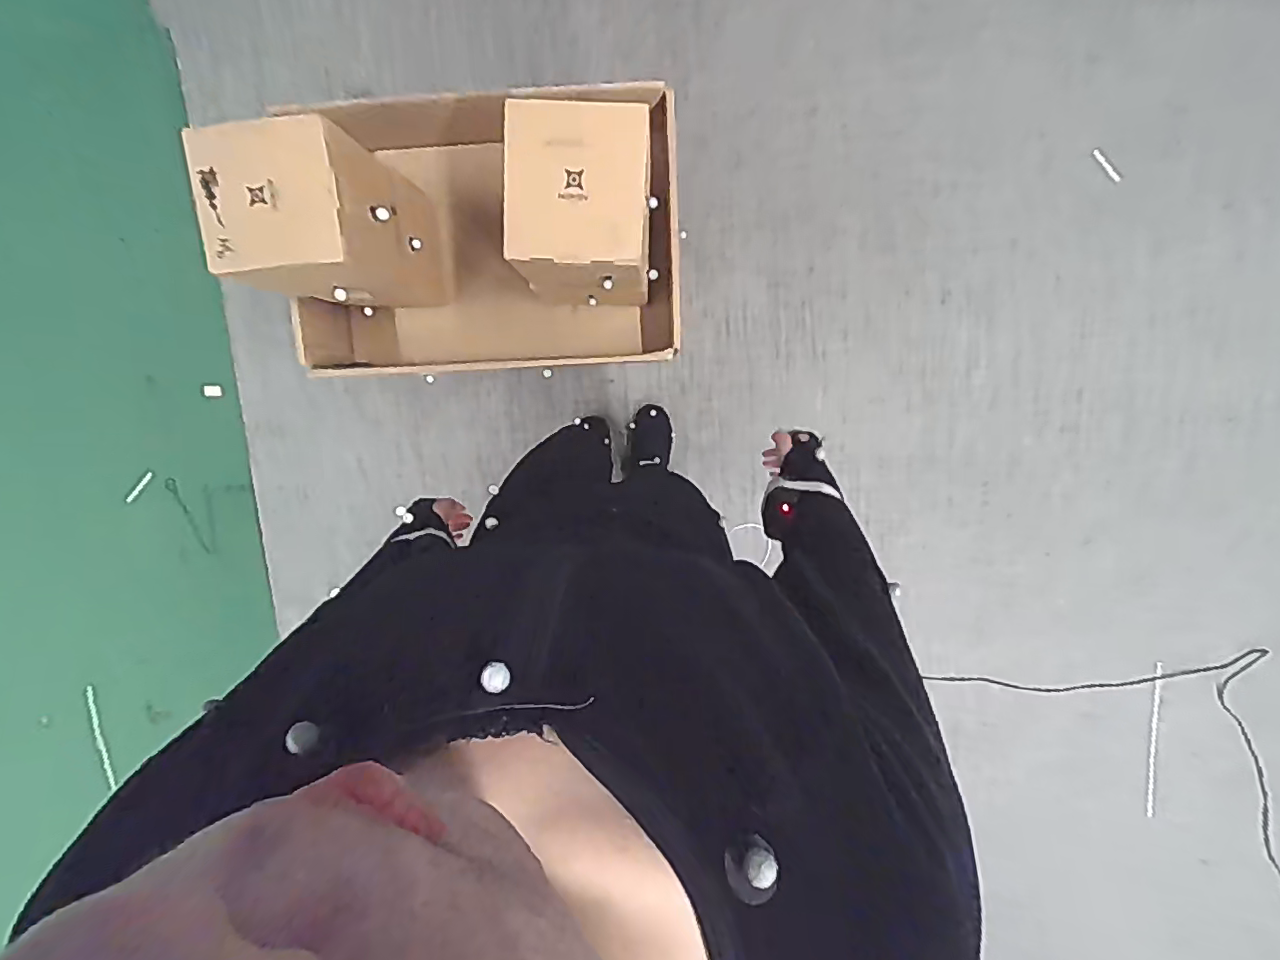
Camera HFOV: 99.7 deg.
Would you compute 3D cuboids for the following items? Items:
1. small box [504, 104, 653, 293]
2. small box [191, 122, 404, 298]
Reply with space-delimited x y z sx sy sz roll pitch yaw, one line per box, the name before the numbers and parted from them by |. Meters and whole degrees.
small box | -0.072 -0.350 0.707 0.168 0.176 0.179 4 98 1
small box | -0.438 -0.348 0.726 0.179 0.176 0.168 -3 98 3
